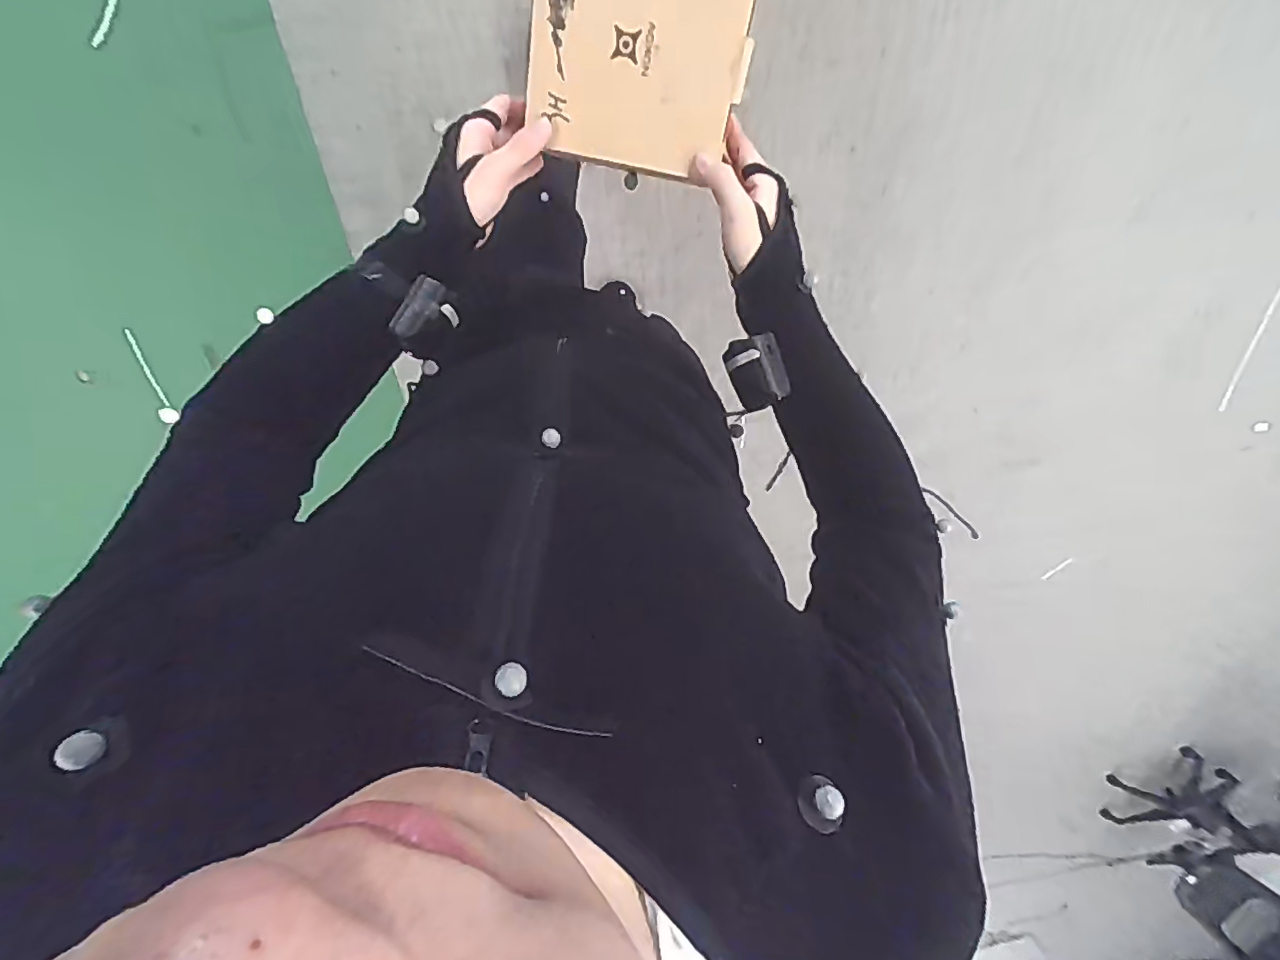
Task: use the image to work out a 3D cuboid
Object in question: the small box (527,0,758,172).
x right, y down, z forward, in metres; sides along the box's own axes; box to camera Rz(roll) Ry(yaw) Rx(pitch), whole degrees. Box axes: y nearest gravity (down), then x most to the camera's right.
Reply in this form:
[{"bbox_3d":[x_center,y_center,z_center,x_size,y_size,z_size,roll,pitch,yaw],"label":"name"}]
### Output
[{"bbox_3d":[0.004,-0.402,0.512,0.179,0.176,0.168,11,117,-3],"label":"small box"}]
